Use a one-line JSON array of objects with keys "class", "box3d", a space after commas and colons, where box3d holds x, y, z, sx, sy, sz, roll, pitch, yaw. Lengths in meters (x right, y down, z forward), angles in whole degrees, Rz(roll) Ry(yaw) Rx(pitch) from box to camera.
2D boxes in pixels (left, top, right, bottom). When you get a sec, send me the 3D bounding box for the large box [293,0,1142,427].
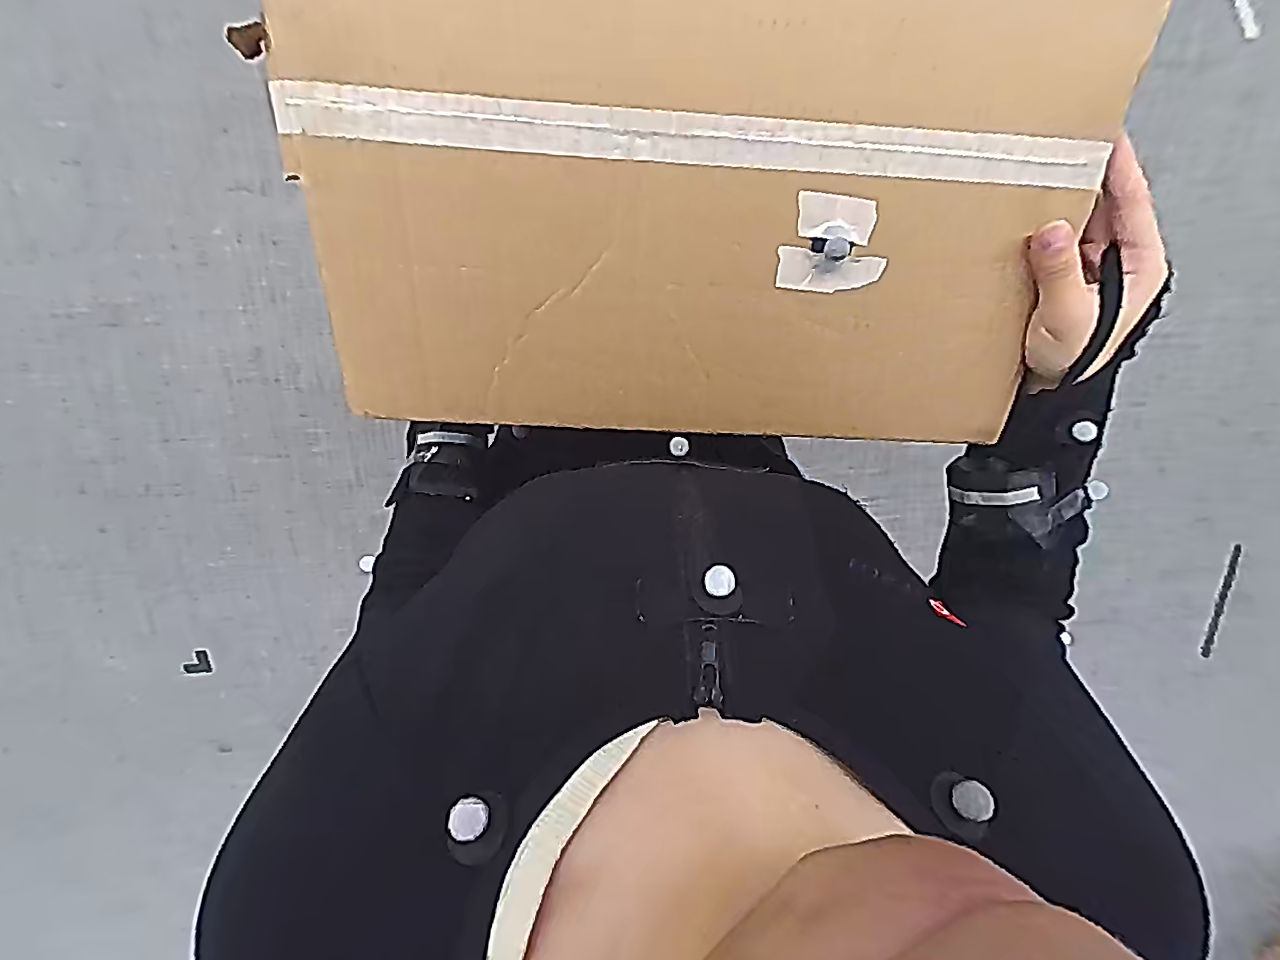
[{"class": "large box", "box3d": [0.028, -0.239, 0.409, 0.408, 0.320, 0.320, 1, 118, -5]}]
